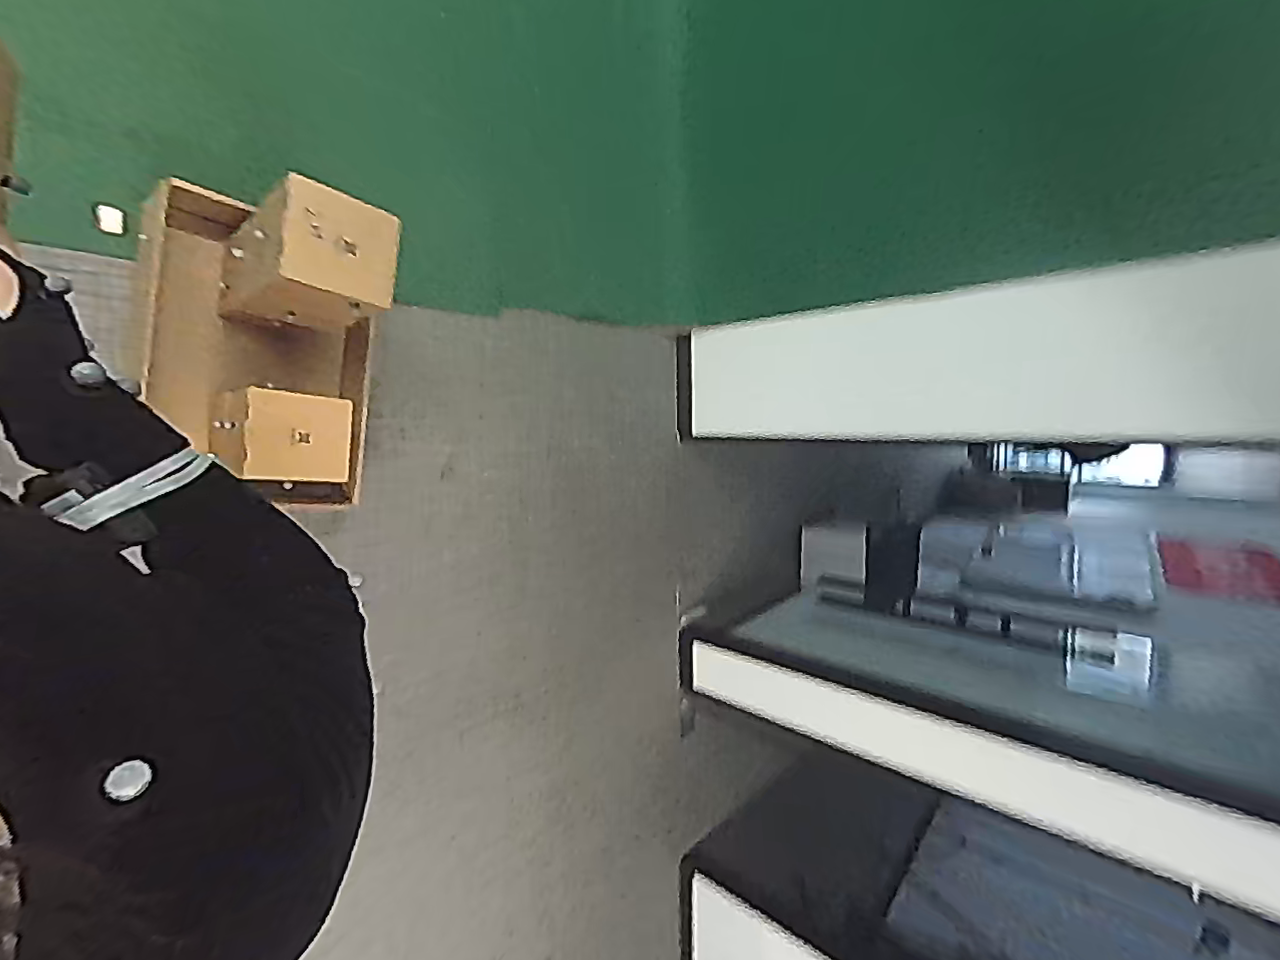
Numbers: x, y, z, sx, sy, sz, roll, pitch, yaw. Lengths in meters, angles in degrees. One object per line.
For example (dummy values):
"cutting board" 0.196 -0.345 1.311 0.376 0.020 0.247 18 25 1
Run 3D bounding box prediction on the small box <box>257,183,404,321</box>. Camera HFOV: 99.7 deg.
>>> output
"small box" -0.553 -0.392 0.968 0.179 0.176 0.168 7 90 -47

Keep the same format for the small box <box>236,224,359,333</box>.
"small box" -0.673 -0.401 1.081 0.179 0.176 0.168 10 88 -47

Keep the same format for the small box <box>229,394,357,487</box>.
"small box" -0.696 -0.077 1.084 0.179 0.176 0.168 3 91 -46
